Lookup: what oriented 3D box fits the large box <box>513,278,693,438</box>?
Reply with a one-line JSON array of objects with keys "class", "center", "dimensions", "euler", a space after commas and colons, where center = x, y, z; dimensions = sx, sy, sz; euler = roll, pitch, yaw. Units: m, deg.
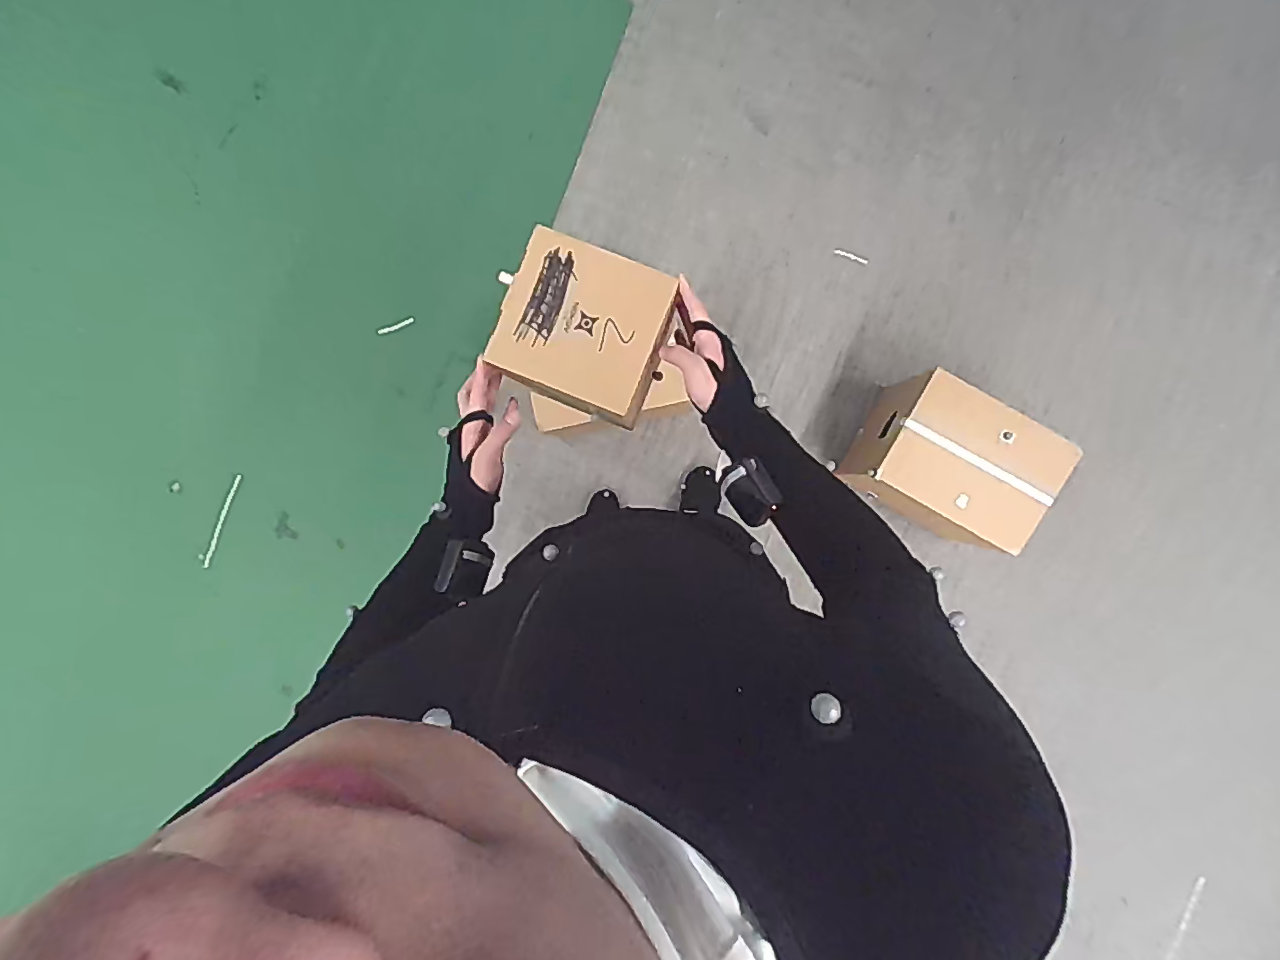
[{"class": "large box", "center": [-0.085, -0.312, 1.497], "dimensions": [0.408, 0.320, 0.320], "euler": [-13, 90, 4]}]
